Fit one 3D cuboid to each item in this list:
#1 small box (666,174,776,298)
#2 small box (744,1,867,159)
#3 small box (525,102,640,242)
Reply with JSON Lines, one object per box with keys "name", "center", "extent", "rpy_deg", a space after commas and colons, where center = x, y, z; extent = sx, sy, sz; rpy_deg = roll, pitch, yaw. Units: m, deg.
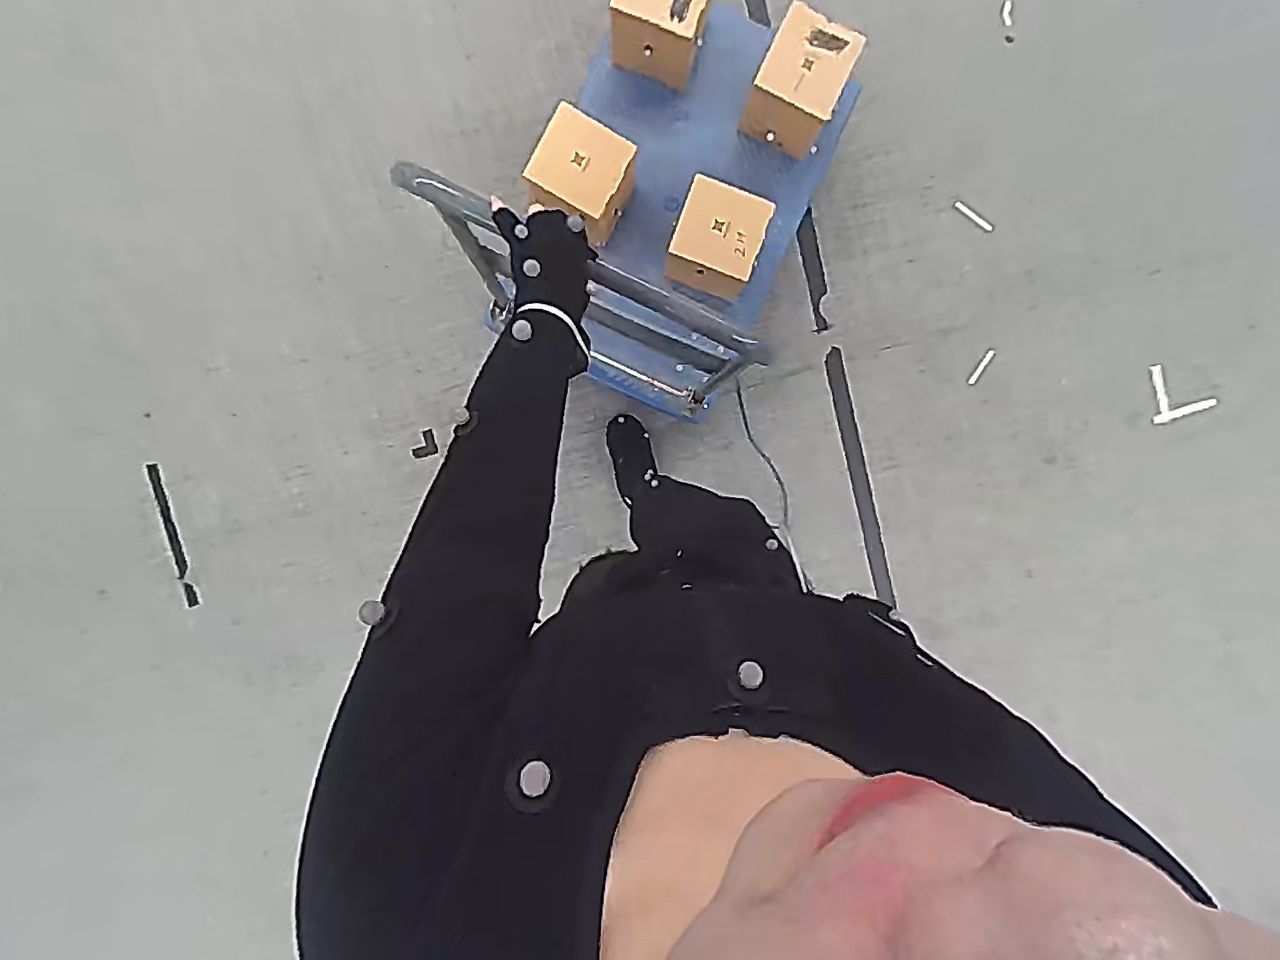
{"name": "small box", "center": [0.164, -0.513, 1.166], "extent": [0.179, 0.176, 0.168], "rpy_deg": [21, 94, -3]}
{"name": "small box", "center": [0.337, -0.830, 1.142], "extent": [0.168, 0.176, 0.179], "rpy_deg": [26, 95, -3]}
{"name": "small box", "center": [-0.118, -0.639, 1.150], "extent": [0.179, 0.176, 0.168], "rpy_deg": [29, 94, -5]}
